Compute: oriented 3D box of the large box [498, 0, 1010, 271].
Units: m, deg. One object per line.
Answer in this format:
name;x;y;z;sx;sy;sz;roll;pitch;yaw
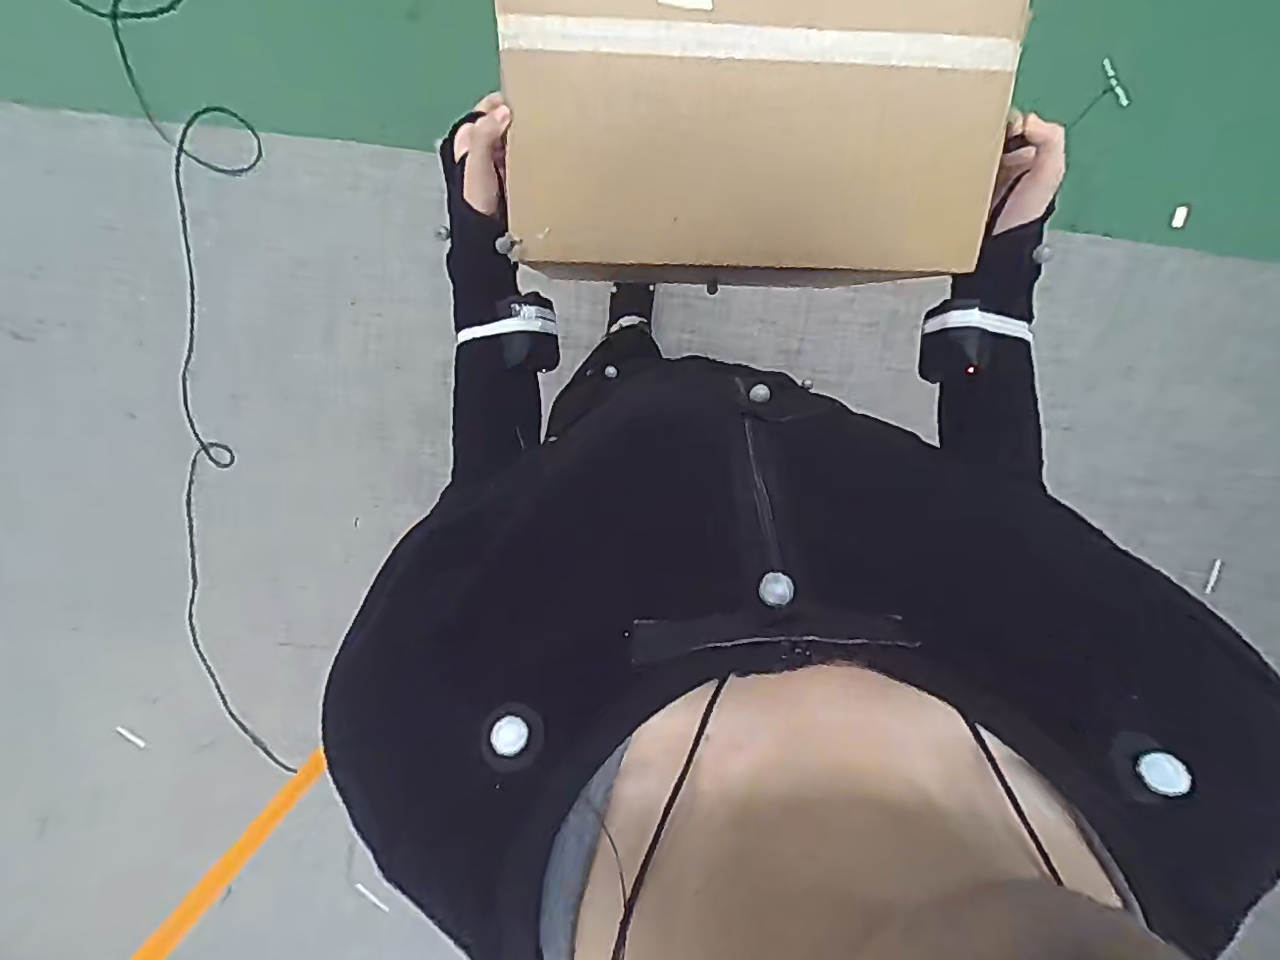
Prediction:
large box;0.085;-0.388;0.567;0.408;0.320;0.320;0;107;-3
